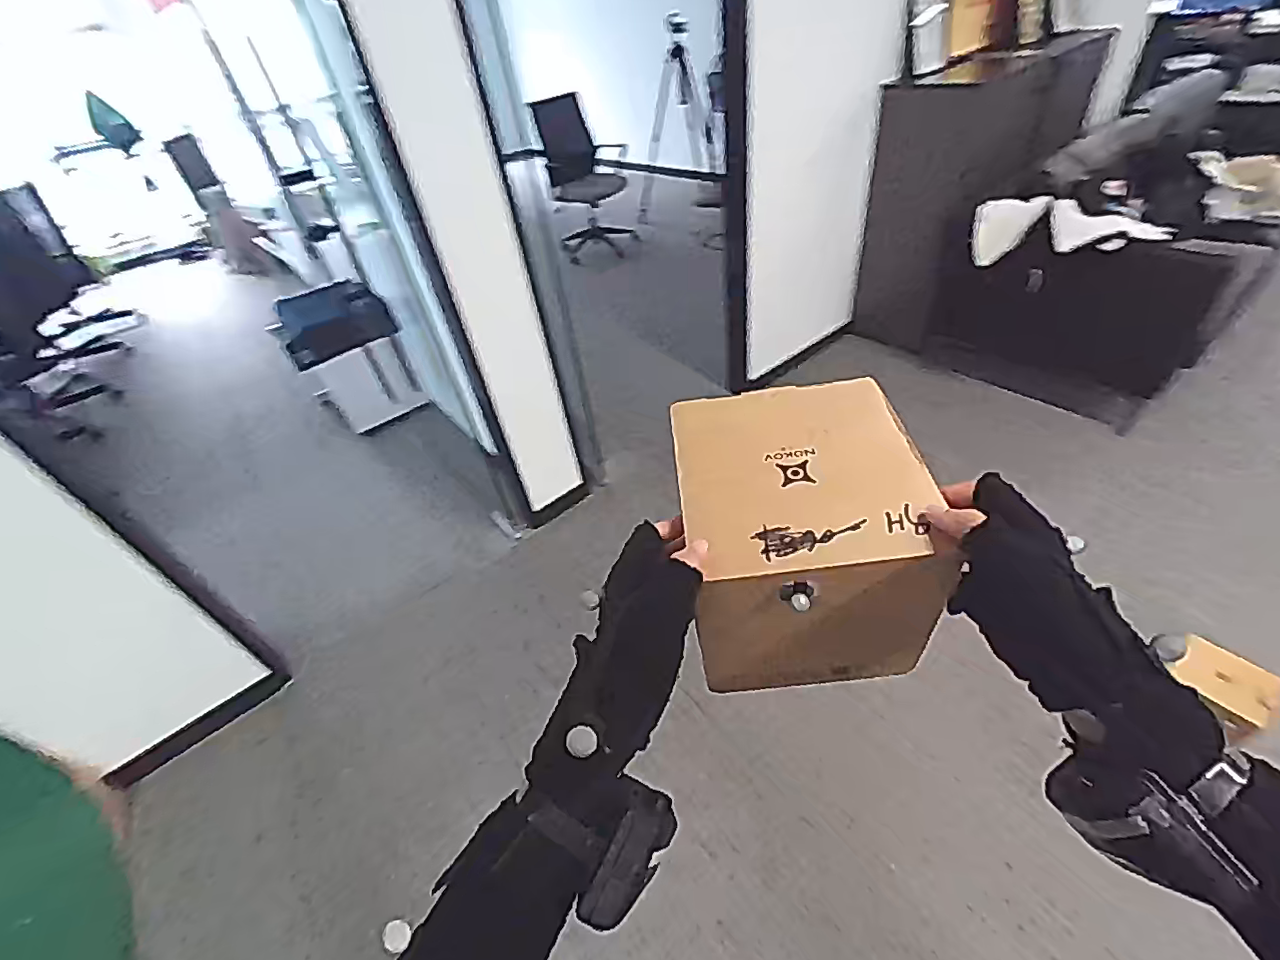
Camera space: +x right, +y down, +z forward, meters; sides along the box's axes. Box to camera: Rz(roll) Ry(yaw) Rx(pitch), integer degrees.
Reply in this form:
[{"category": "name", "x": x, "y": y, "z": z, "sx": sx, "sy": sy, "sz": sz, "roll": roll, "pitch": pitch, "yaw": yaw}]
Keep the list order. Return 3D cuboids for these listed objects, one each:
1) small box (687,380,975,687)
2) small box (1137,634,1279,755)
[{"category": "small box", "x": 0.130, "y": 0.045, "z": 0.441, "sx": 0.168, "sy": 0.176, "sz": 0.179, "roll": -7, "pitch": 44, "yaw": 7}, {"category": "small box", "x": 1.361, "y": 0.517, "z": 1.302, "sx": 0.168, "sy": 0.176, "sz": 0.179, "roll": -32, "pitch": 46, "yaw": -23}]
